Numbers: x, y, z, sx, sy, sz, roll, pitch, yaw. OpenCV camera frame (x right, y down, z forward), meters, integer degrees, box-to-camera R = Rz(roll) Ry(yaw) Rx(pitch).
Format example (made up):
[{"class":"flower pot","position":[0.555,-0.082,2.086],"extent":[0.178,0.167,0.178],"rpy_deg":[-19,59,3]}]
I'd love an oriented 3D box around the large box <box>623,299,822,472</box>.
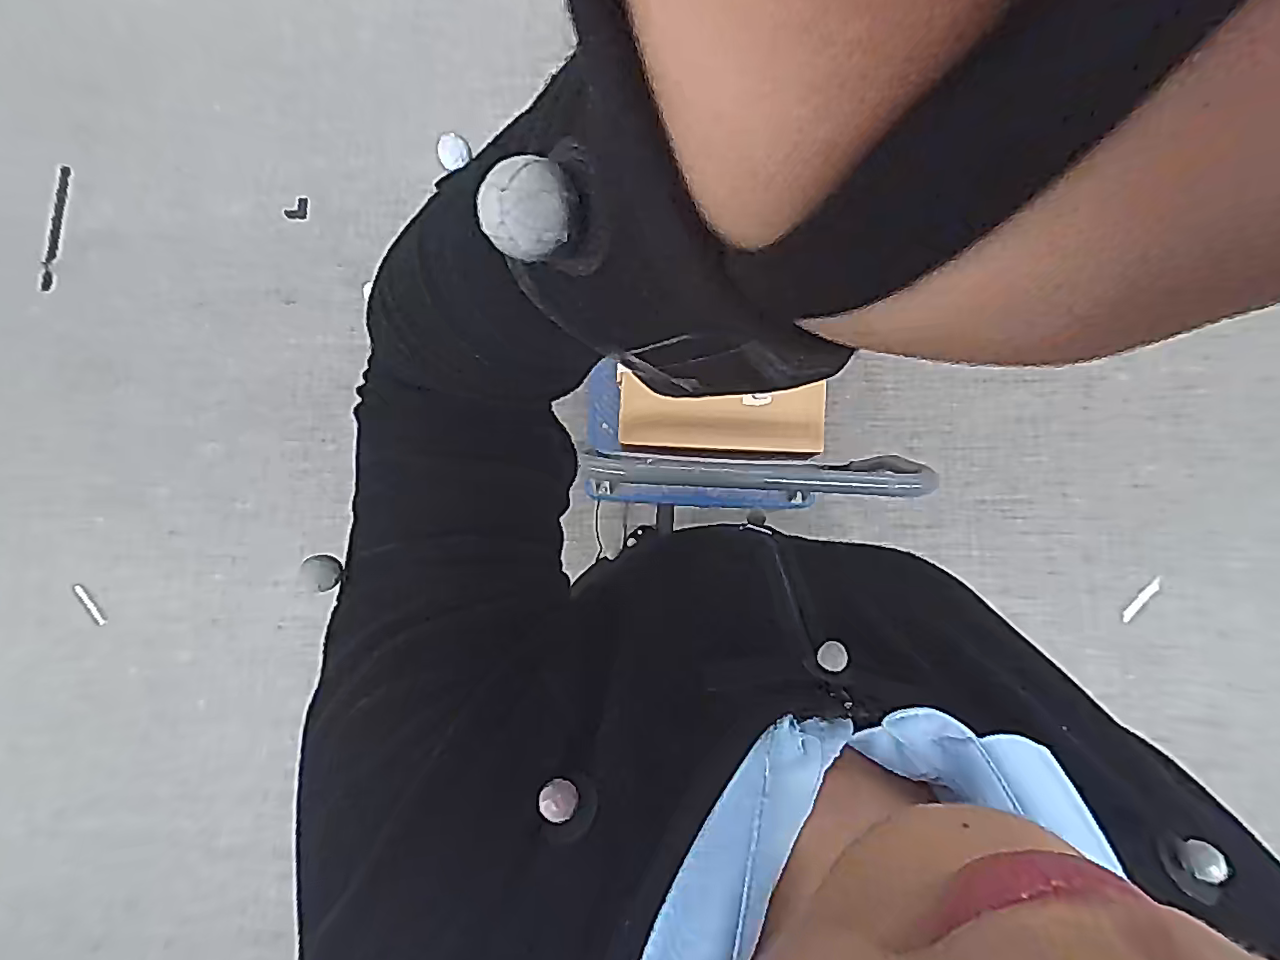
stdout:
[{"class":"large box","position":[0.164,-0.195,1.234],"extent":[0.408,0.320,0.320],"rpy_deg":[3,84,0]}]
